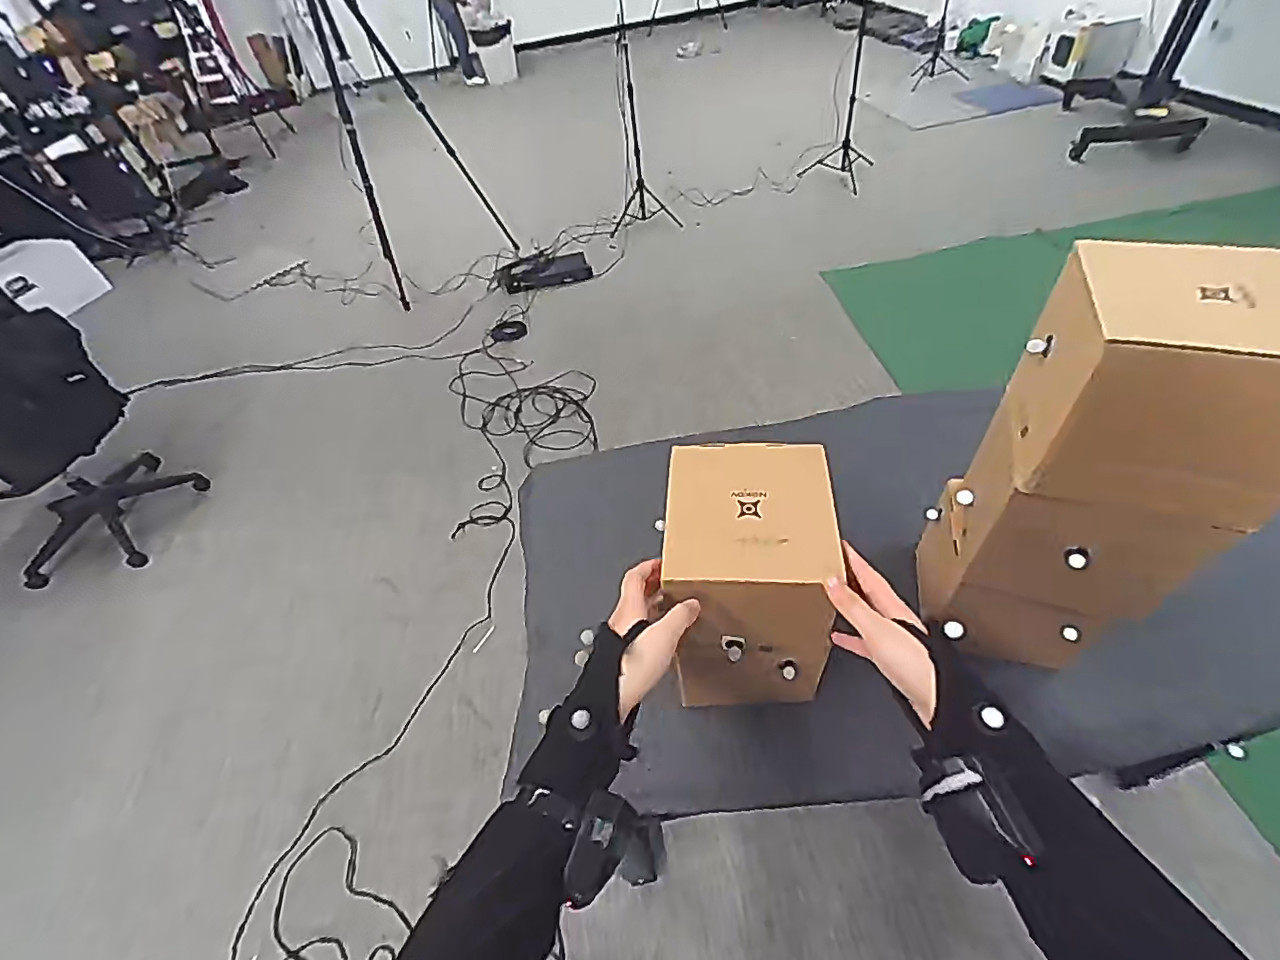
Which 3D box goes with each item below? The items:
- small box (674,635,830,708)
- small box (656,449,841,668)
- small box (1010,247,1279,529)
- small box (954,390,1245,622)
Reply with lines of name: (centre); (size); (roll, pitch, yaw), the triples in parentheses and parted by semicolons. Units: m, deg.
small box: (0.135, 0.190, 0.717); (0.179, 0.176, 0.168); (-5, 47, 5)
small box: (0.113, 0.085, 0.594); (0.168, 0.176, 0.179); (0, 49, 10)
small box: (0.444, -0.079, 0.465); (0.179, 0.176, 0.168); (12, 50, 18)
small box: (0.466, 0.030, 0.583); (0.179, 0.176, 0.168); (13, 51, 20)
